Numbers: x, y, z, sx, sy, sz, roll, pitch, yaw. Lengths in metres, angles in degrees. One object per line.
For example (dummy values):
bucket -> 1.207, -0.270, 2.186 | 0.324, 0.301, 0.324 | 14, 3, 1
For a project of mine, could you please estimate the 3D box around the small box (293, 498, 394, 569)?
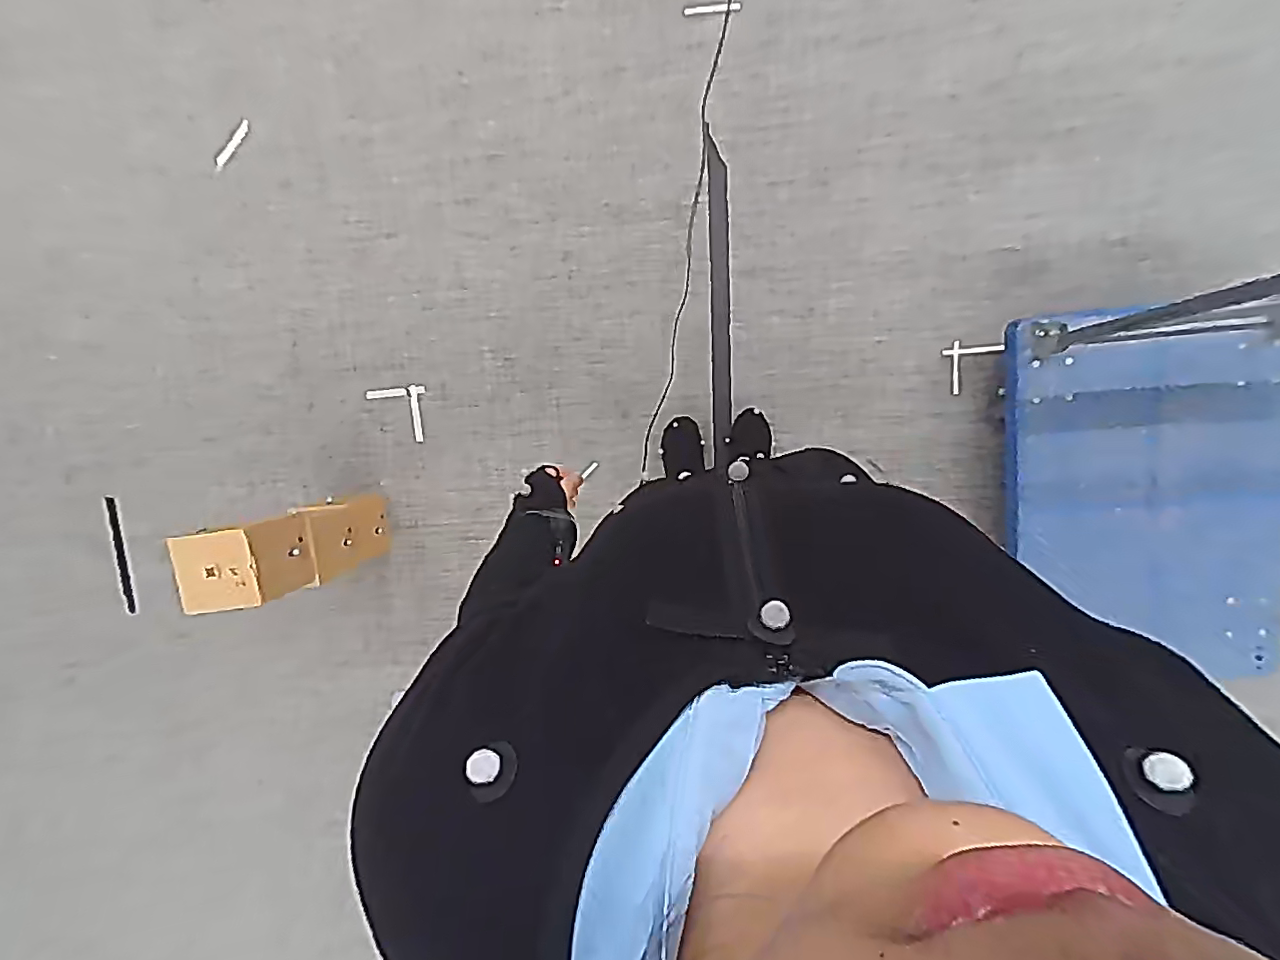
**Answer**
small box -> -0.818, 0.145, 1.503 | 0.179, 0.176, 0.168 | -4, 97, 4

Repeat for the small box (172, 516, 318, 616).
small box -> -0.849, 0.181, 1.176 | 0.179, 0.176, 0.168 | -8, 97, 4
